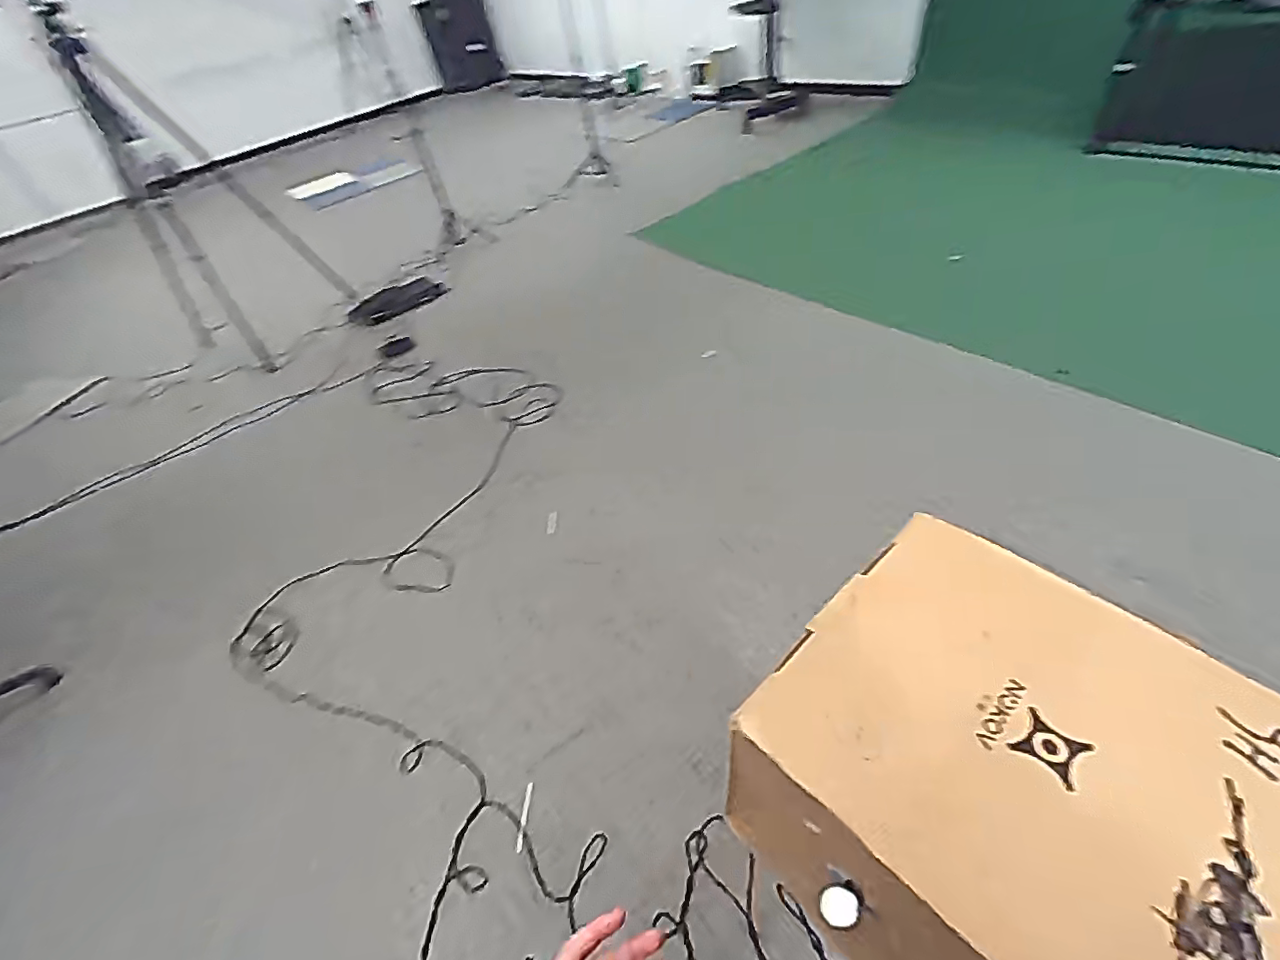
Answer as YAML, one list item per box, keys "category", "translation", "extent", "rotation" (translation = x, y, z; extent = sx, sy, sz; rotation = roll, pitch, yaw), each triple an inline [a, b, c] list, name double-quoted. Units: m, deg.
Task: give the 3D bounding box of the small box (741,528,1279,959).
- category: "small box"
  translation: [0.167, 0.165, 0.282]
  extent: [0.168, 0.176, 0.179]
  rotation: [-37, 51, -25]
